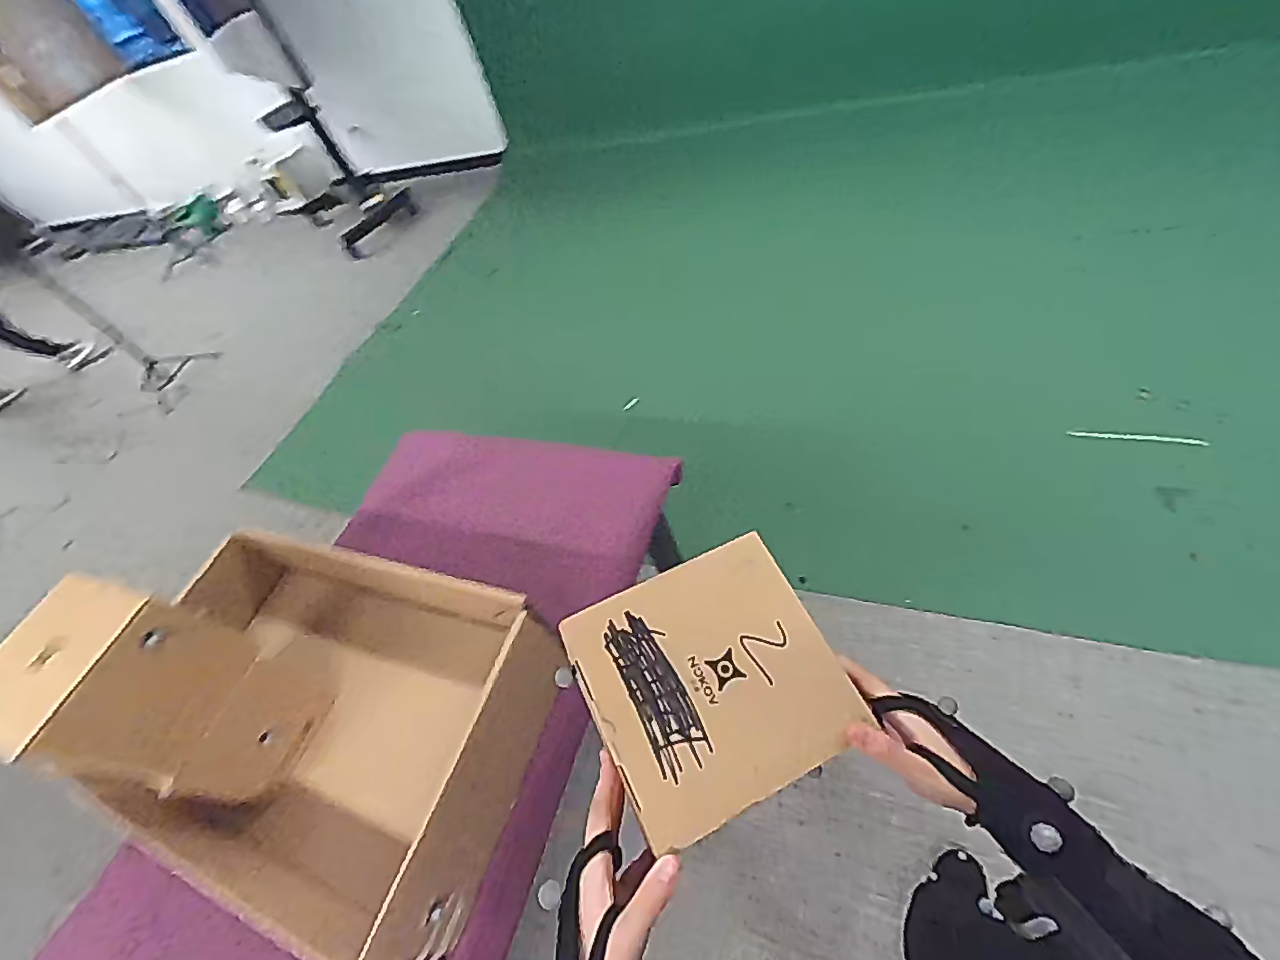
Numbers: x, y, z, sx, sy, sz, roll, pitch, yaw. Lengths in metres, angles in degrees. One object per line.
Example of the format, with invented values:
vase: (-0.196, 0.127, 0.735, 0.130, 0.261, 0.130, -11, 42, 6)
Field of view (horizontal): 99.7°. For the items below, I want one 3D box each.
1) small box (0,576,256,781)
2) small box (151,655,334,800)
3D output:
small box: (-0.626, 0.241, 0.653, 0.168, 0.176, 0.179, 6, 56, 21)
small box: (-0.592, 0.340, 0.777, 0.179, 0.176, 0.168, 9, 57, 22)
